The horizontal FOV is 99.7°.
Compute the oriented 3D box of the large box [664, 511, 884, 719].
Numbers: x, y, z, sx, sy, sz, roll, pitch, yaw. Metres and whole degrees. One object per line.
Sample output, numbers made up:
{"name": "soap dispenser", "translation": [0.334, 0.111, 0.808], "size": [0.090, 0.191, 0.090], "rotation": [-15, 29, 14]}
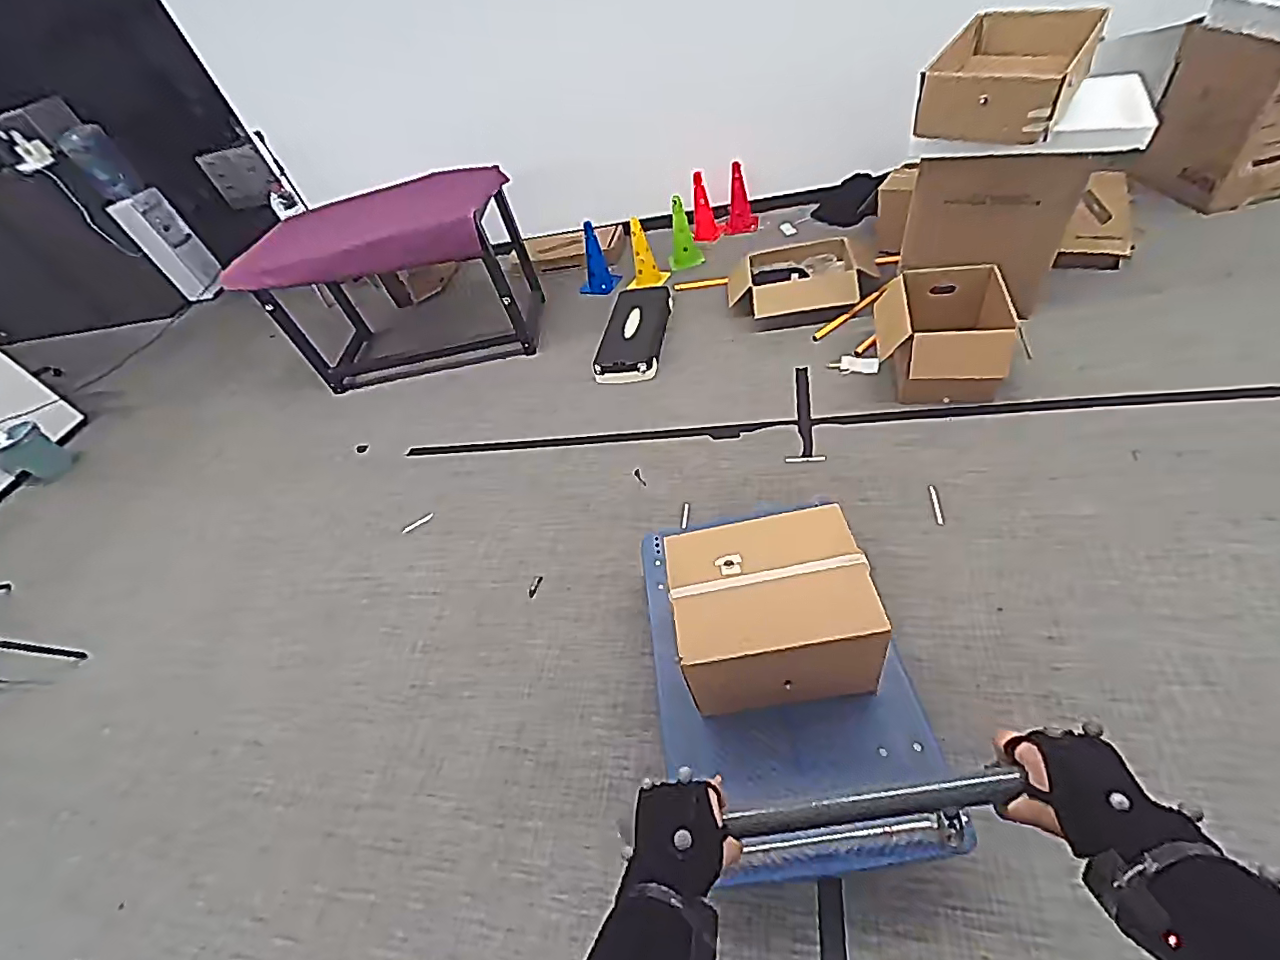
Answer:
{"name": "large box", "translation": [0.296, 0.321, 1.255], "size": [0.408, 0.320, 0.320], "rotation": [-13, 46, 7]}
